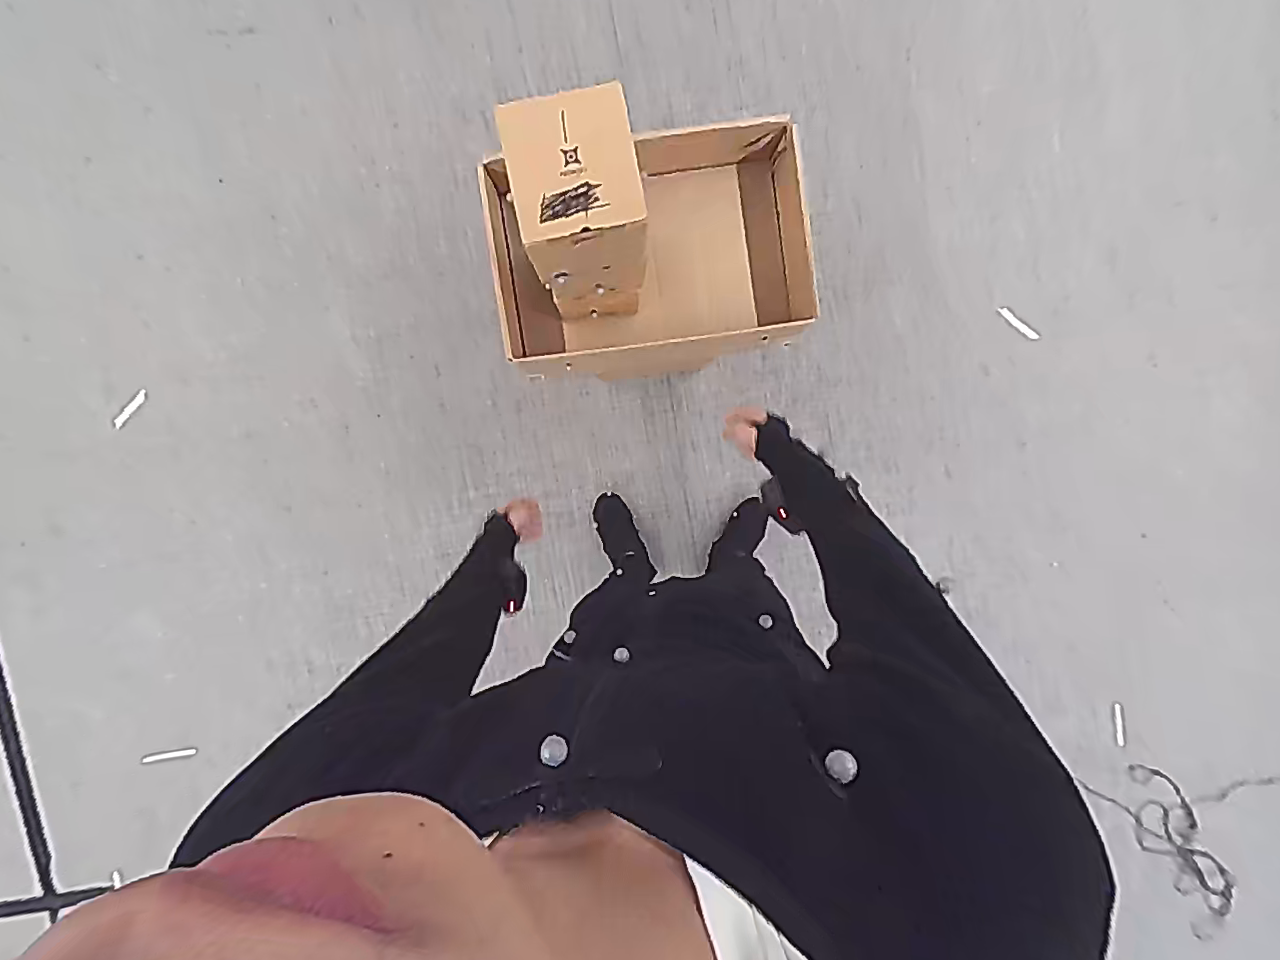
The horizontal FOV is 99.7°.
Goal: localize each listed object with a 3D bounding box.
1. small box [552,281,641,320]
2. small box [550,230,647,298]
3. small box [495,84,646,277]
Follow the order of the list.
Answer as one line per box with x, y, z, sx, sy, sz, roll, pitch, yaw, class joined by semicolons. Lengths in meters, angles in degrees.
-0.095;-0.437;1.091;0.168;0.176;0.179;-9;94;-1;small box
-0.085;-0.431;0.927;0.168;0.176;0.179;-9;95;-1;small box
-0.089;-0.403;0.764;0.168;0.176;0.179;-12;94;-1;small box
